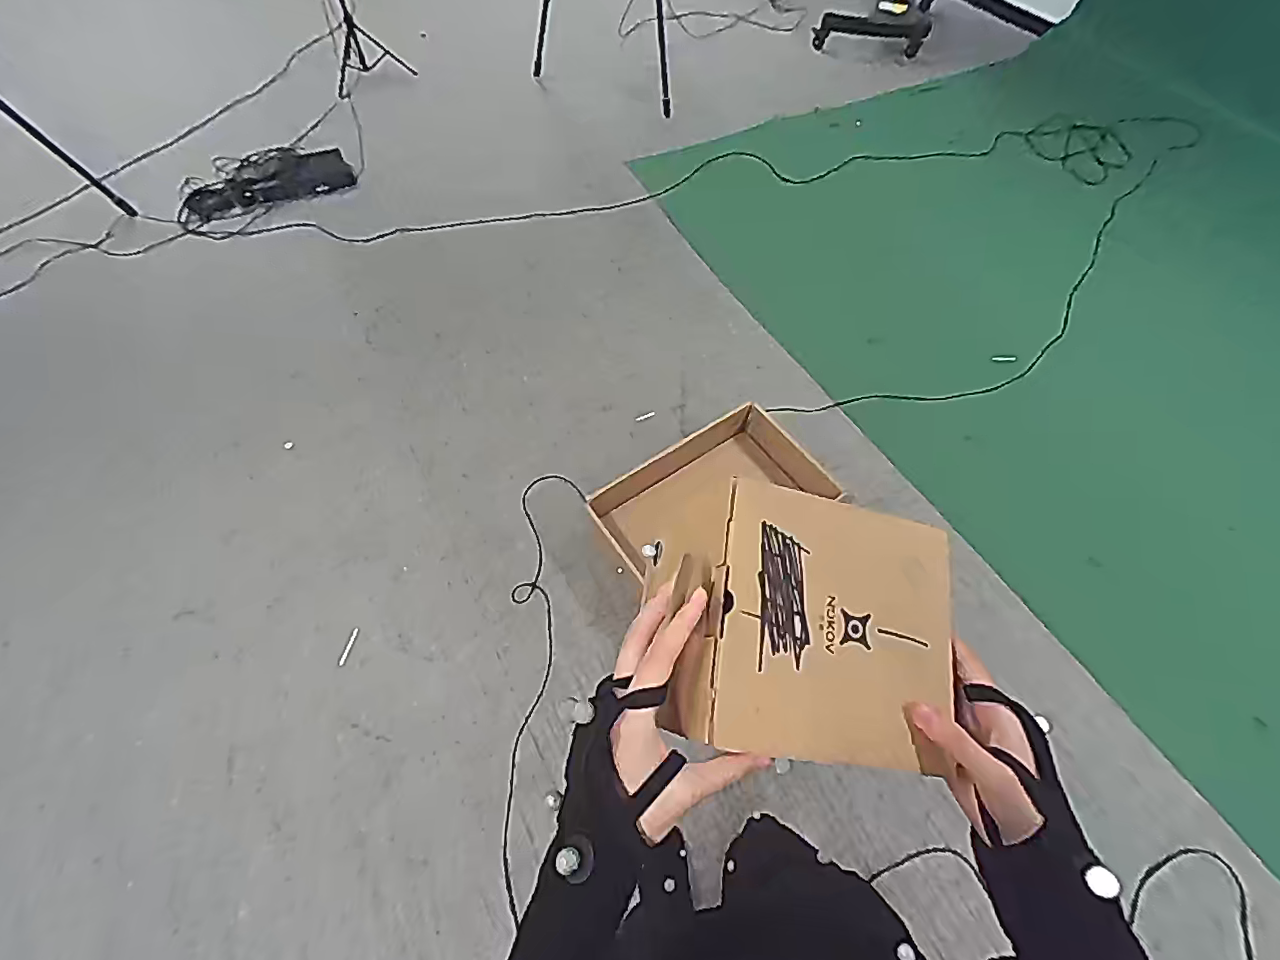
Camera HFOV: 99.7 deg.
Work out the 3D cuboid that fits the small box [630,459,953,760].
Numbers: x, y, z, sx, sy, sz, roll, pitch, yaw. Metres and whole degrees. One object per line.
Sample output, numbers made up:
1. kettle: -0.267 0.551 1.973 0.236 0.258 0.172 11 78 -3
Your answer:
1. small box: 0.104 0.103 0.420 0.179 0.176 0.168 15 70 -15
